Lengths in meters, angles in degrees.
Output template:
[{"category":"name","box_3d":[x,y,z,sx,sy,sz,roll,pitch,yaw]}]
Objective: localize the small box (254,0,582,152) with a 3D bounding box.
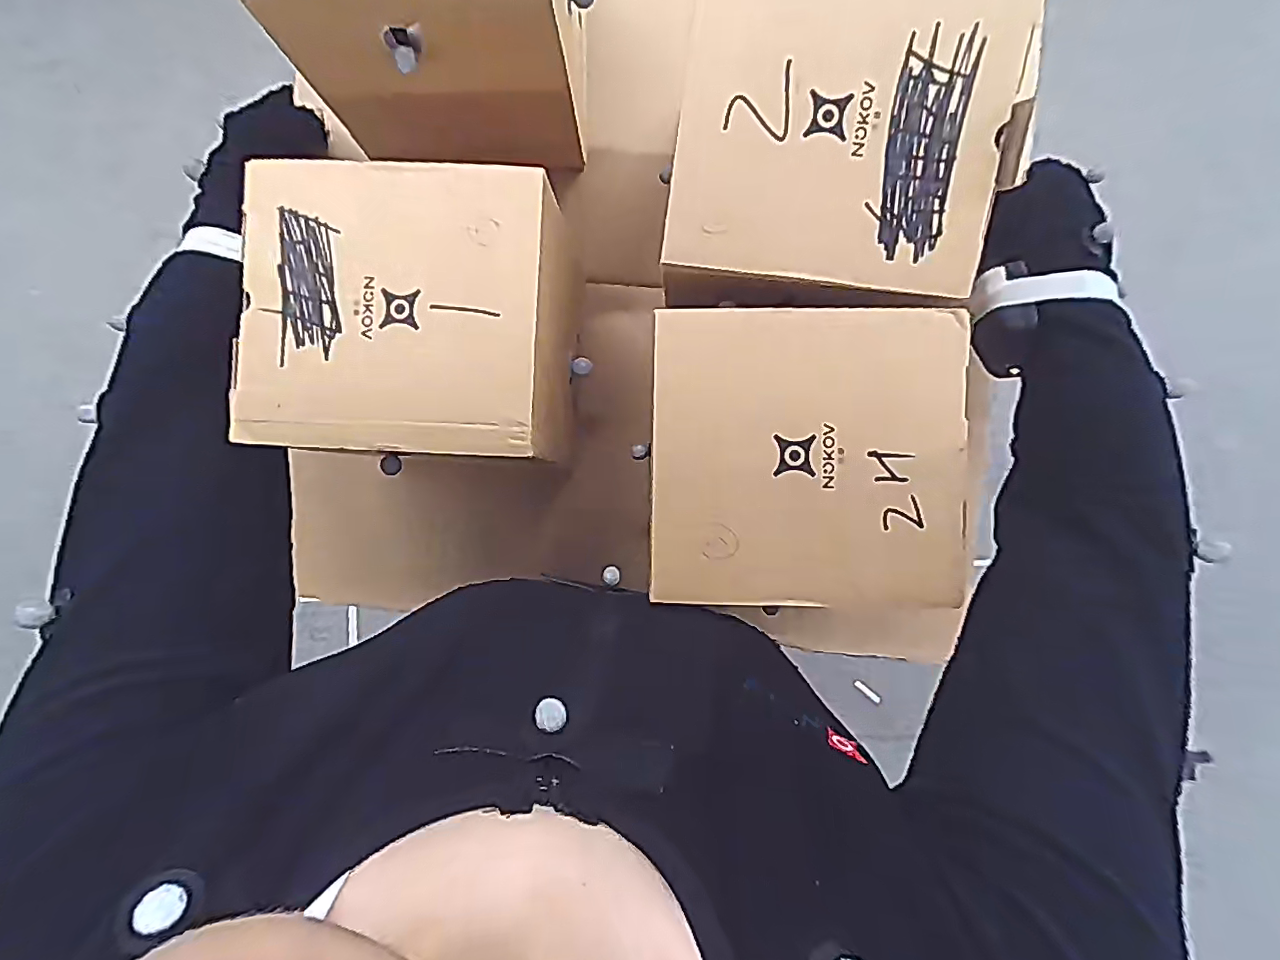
[{"category":"small box","box_3d":[-0.134,-0.354,0.369,0.179,0.176,0.168,0,88,3]}]
